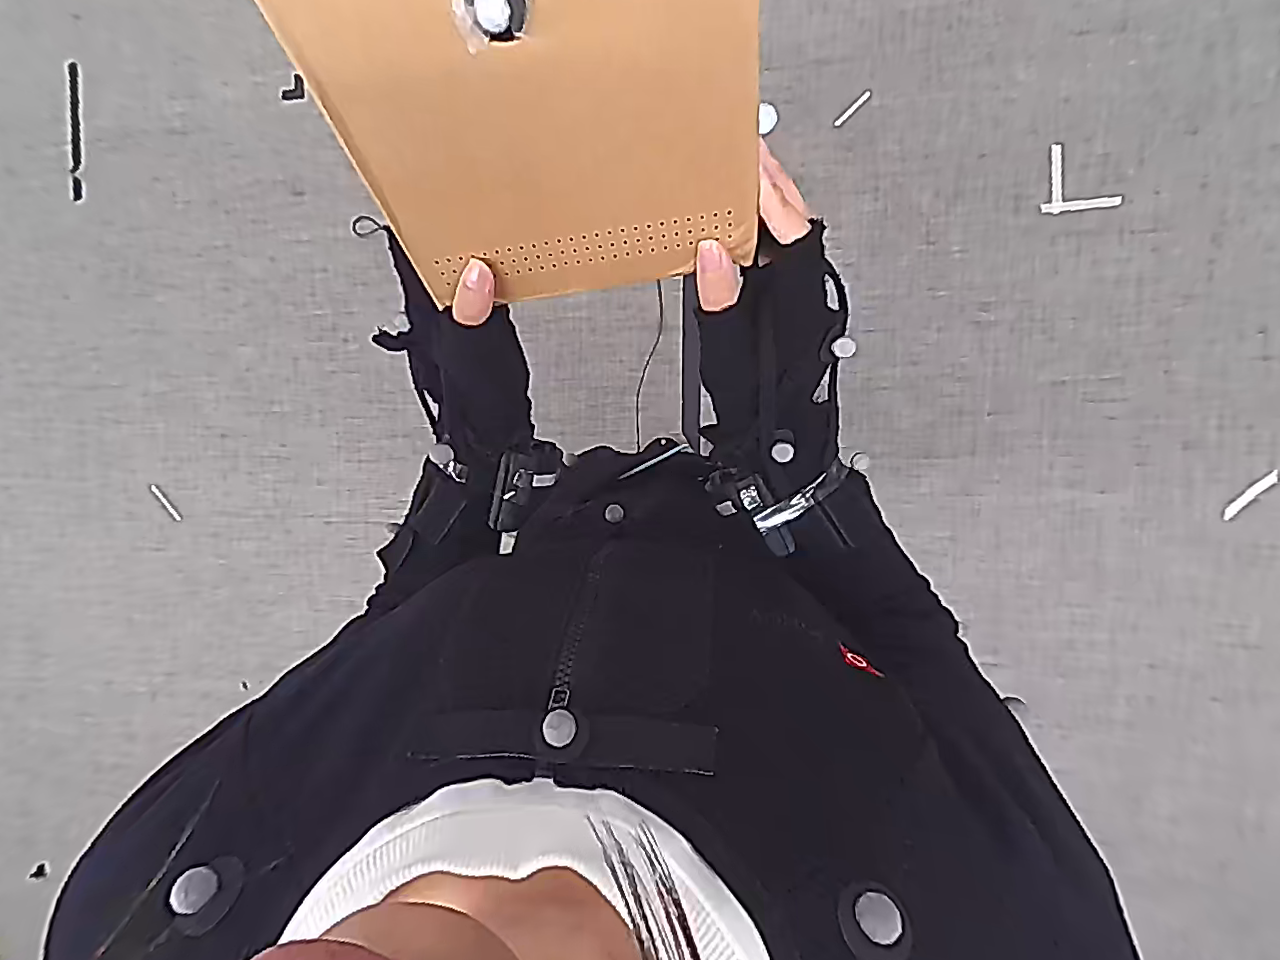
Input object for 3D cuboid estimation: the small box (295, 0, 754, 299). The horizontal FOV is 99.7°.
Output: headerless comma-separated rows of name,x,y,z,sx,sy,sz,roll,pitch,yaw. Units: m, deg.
small box,-0.037,-0.216,0.282,0.179,0.176,0.168,-6,57,8
